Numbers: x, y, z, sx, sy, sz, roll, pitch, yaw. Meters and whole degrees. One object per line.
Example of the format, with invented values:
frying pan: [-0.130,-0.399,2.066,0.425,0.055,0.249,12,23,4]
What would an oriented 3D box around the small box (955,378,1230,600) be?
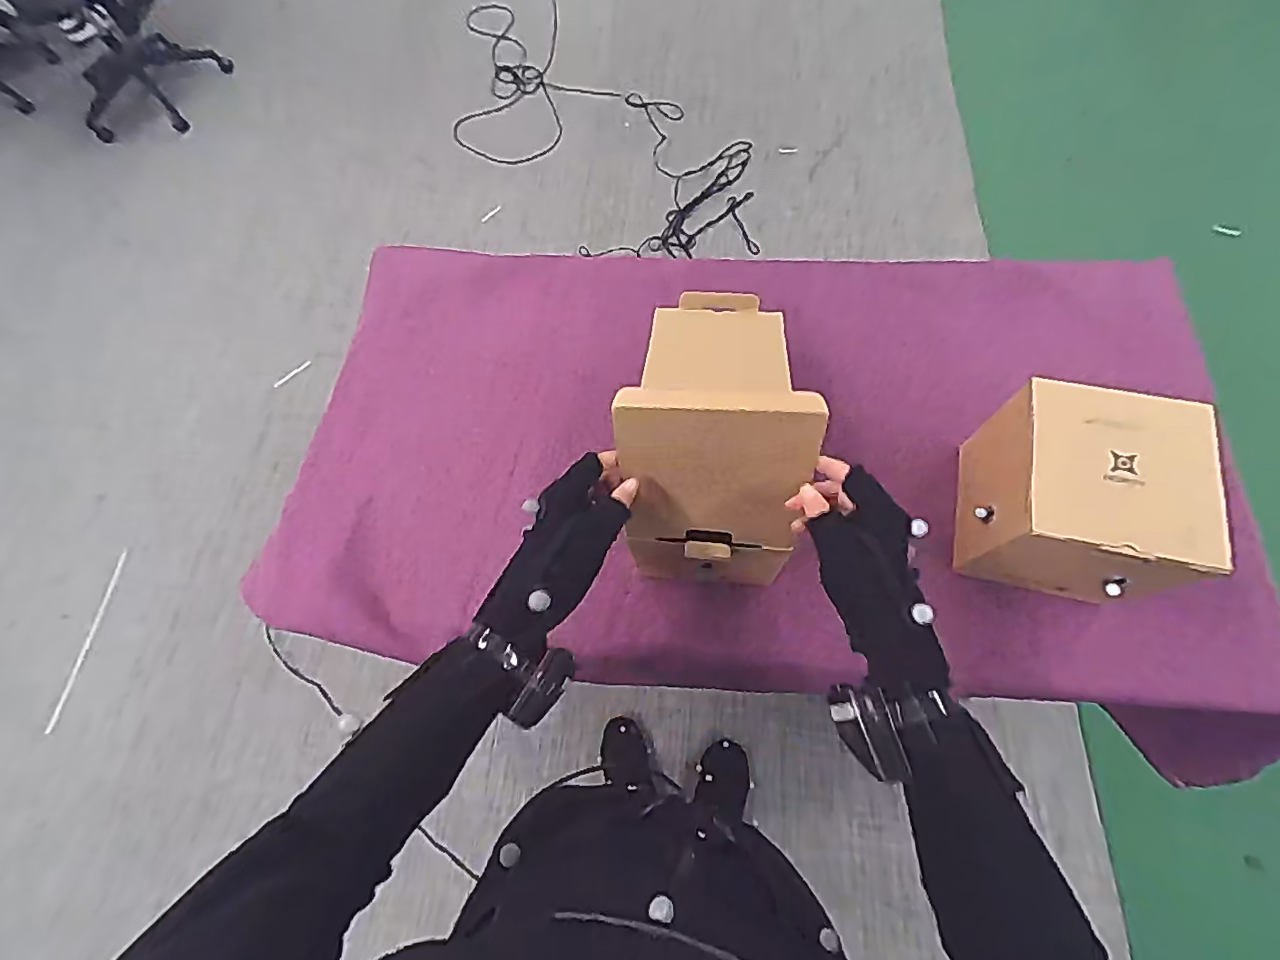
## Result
small box: [0.467,0.019,0.588,0.168,0.176,0.179,13,69,11]
